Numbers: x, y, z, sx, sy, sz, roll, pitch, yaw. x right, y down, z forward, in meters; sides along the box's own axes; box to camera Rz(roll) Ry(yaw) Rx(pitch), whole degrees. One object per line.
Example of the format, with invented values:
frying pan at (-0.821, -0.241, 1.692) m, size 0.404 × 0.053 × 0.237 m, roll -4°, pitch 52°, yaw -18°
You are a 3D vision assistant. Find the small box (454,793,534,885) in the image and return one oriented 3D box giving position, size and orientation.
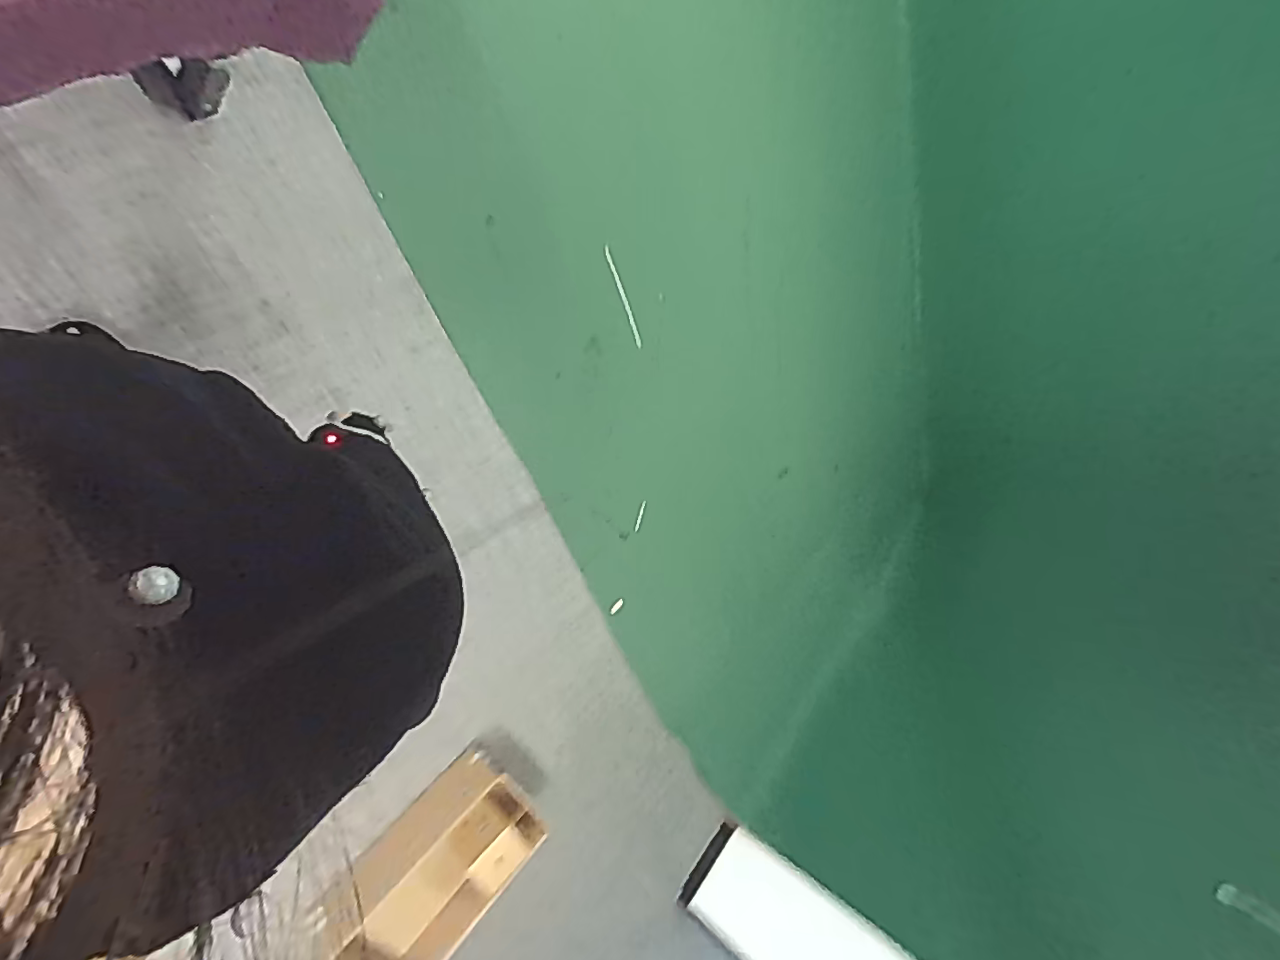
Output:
small box at (-0.492, 1.191, 1.811) m, size 0.168 × 0.176 × 0.179 m, roll -39°, pitch 125°, yaw -30°
